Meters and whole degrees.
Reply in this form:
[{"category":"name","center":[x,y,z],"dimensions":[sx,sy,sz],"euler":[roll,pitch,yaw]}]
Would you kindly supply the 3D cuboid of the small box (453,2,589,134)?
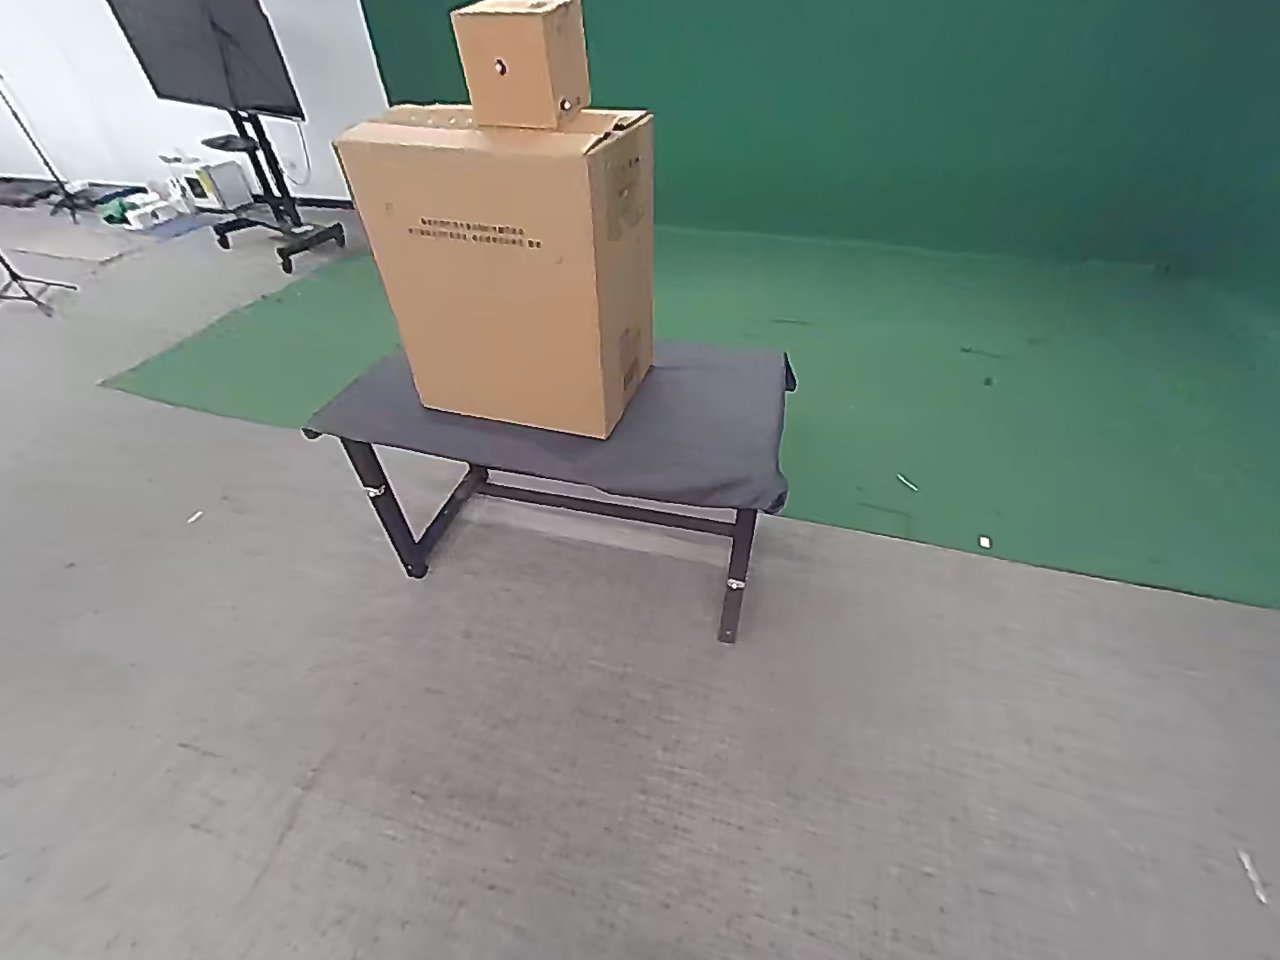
[{"category":"small box","center":[-0.209,-0.767,1.011],"dimensions":[0.179,0.176,0.168],"euler":[12,50,15]}]
